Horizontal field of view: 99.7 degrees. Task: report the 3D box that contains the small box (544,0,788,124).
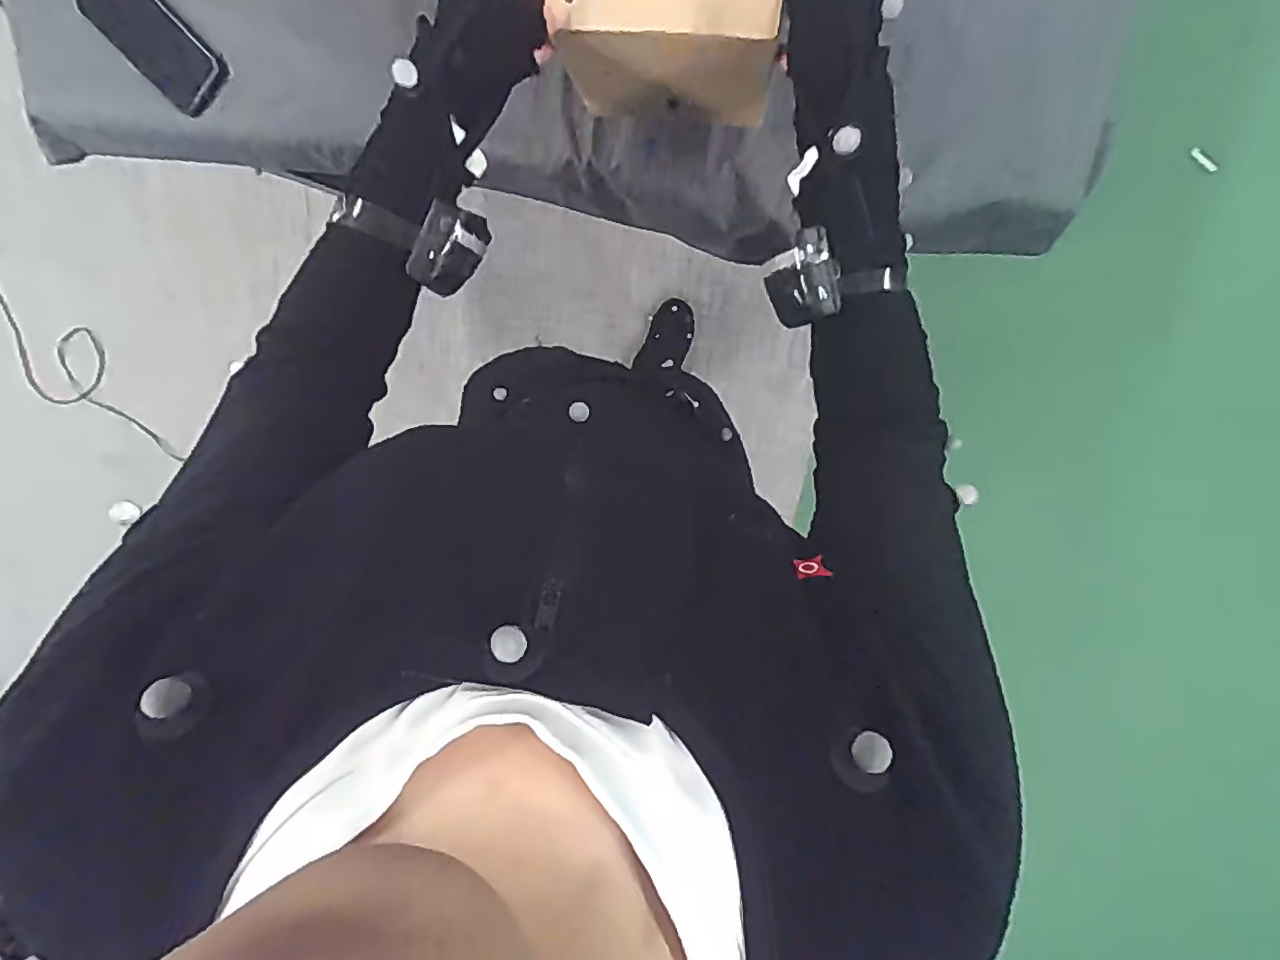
[{"bbox_3d":[0.032,-0.419,0.447,0.179,0.176,0.168,8,105,5],"label":"small box"}]
